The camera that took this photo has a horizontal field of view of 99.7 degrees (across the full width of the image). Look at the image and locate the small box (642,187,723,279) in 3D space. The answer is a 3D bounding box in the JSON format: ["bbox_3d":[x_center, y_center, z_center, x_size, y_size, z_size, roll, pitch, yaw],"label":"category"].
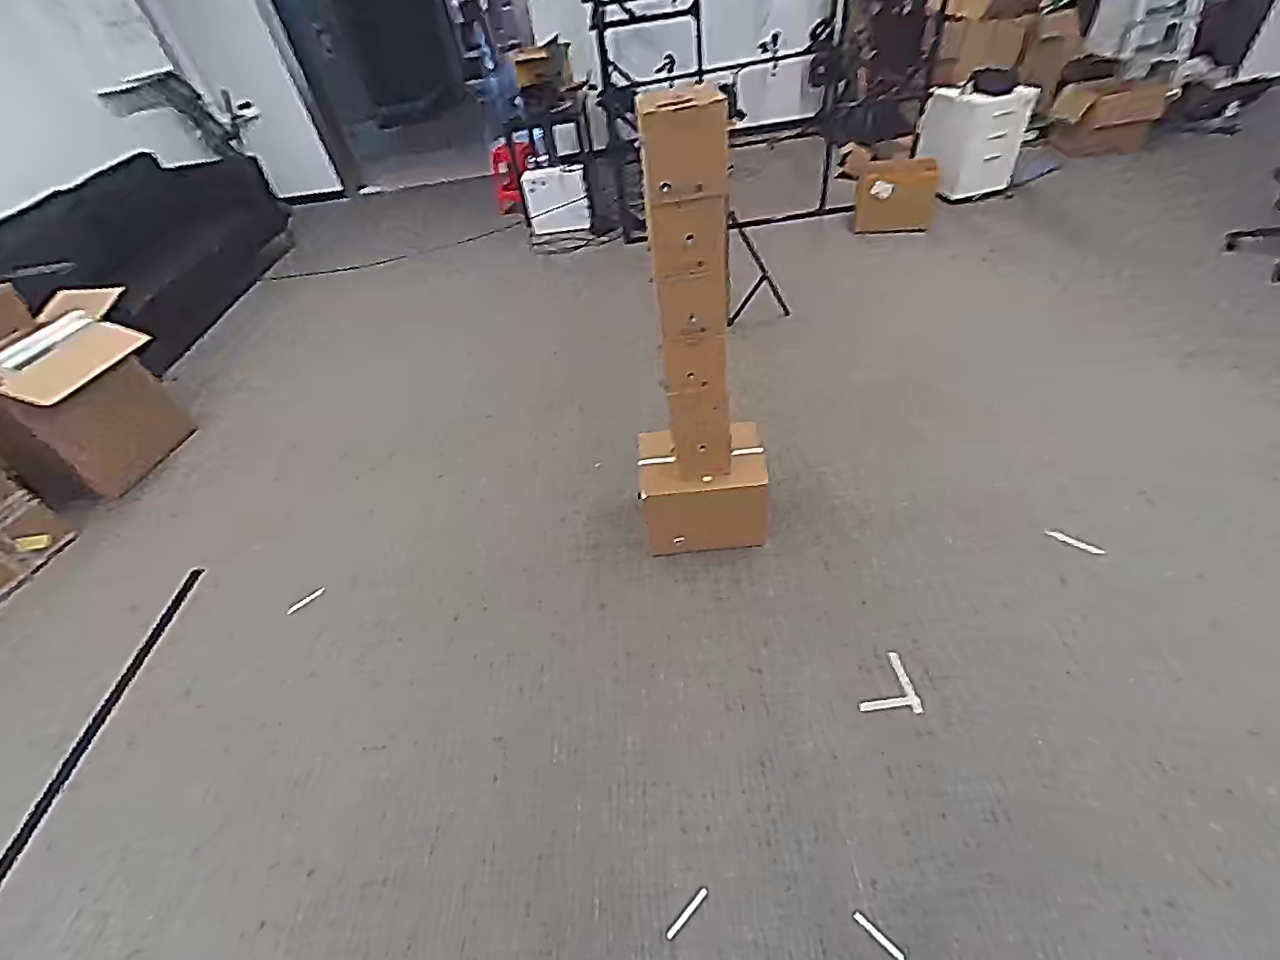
[{"bbox_3d":[0.100,-0.585,1.269,0.168,0.176,0.179,-8,45,1],"label":"small box"}]

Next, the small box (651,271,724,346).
[{"bbox_3d":[0.119,-0.466,1.380,0.168,0.176,0.179,-8,45,2],"label":"small box"}]

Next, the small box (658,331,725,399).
[{"bbox_3d":[0.139,-0.347,1.492,0.168,0.176,0.179,-7,45,2],"label":"small box"}]

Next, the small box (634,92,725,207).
[{"bbox_3d":[0.085,-0.694,1.146,0.168,0.176,0.179,-8,44,1],"label":"small box"}]

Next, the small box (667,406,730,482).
[{"bbox_3d":[0.186,-0.109,1.711,0.179,0.176,0.168,-7,45,1],"label":"small box"}]
